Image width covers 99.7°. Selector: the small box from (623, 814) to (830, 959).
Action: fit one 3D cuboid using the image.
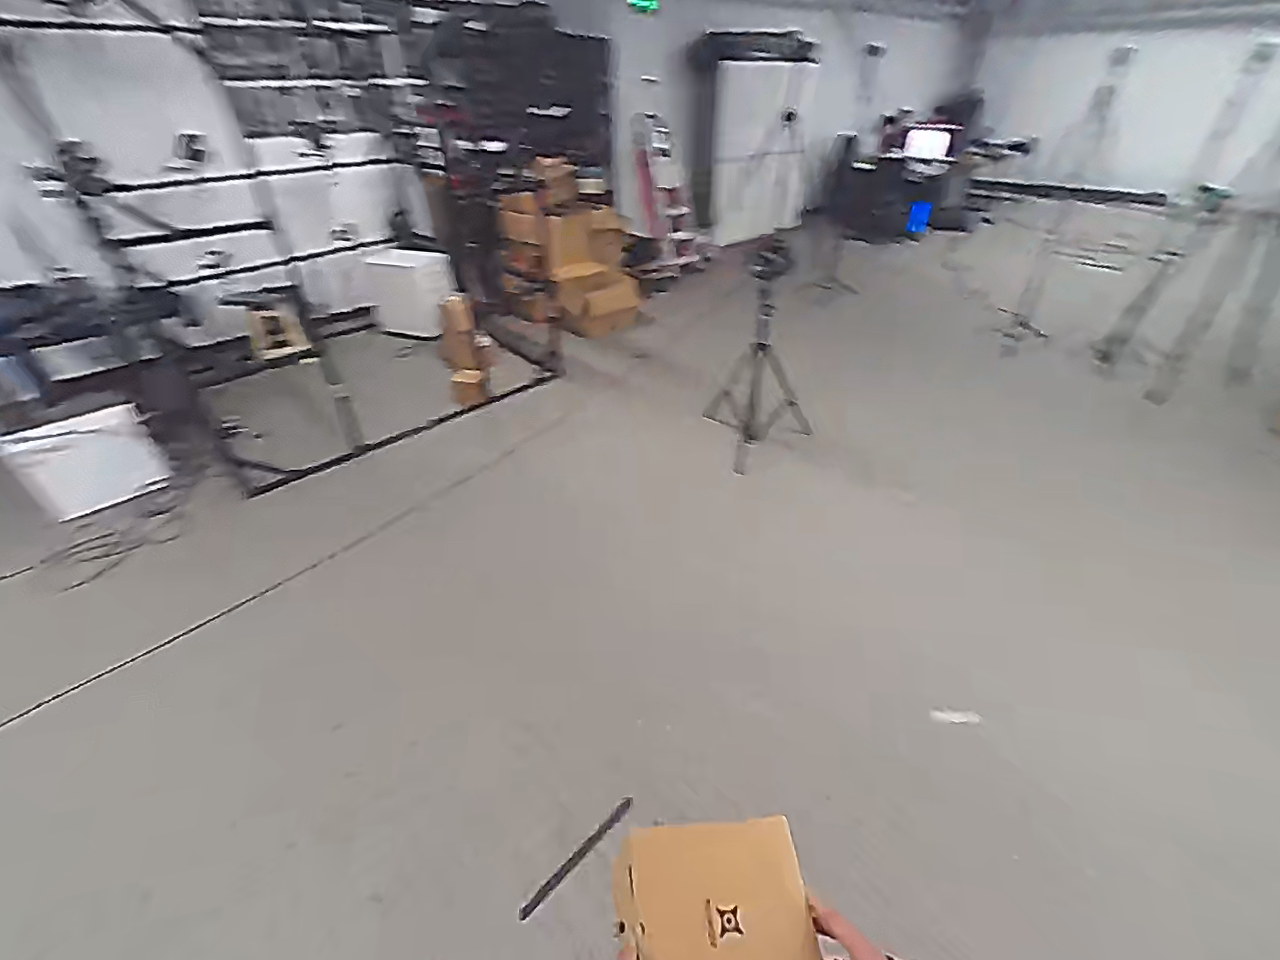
[{"bbox_3d":[0.079,0.471,0.574,0.179,0.176,0.168,0,46,-7],"label":"small box"}]
